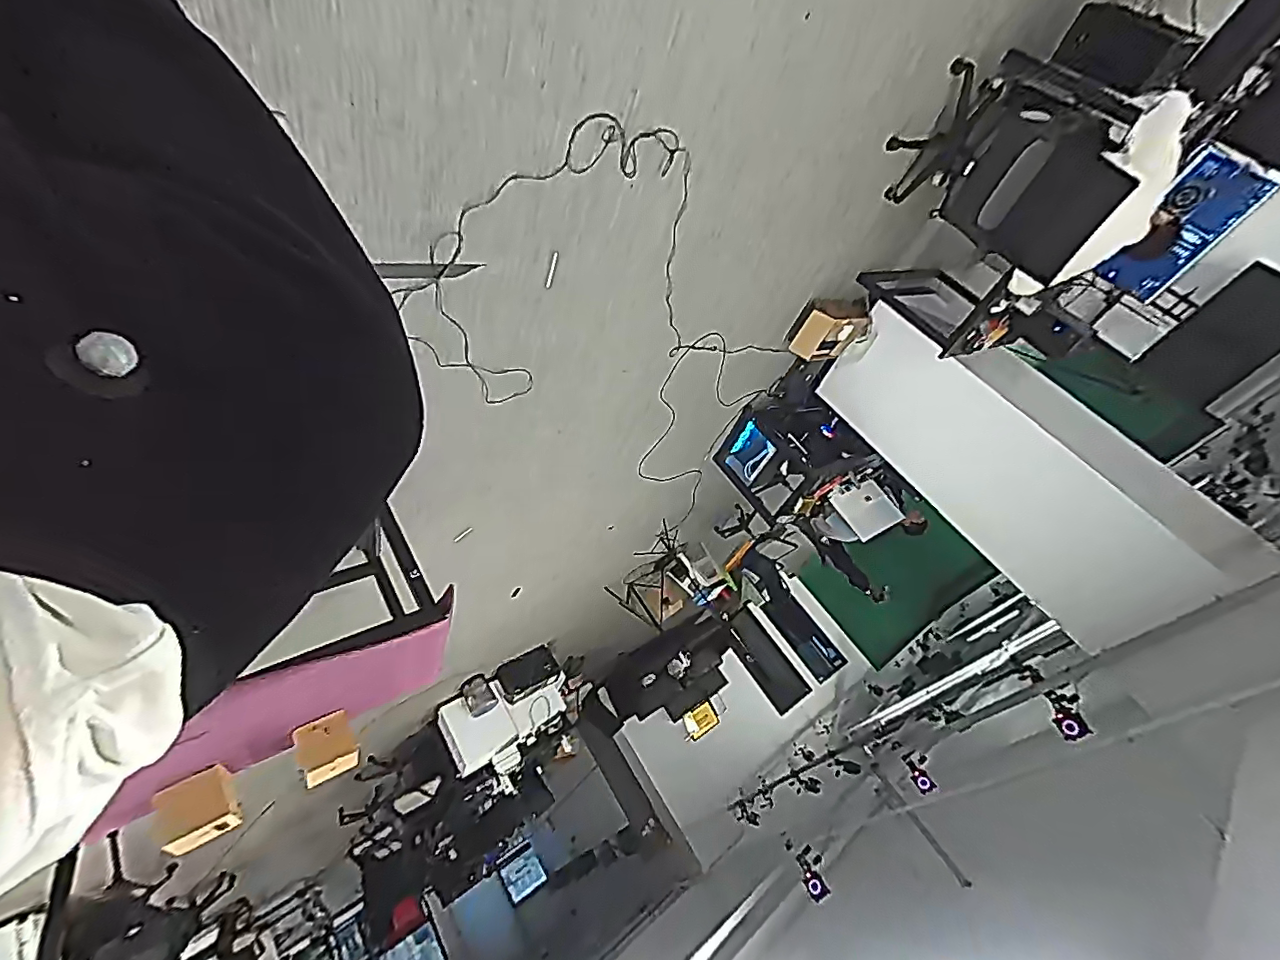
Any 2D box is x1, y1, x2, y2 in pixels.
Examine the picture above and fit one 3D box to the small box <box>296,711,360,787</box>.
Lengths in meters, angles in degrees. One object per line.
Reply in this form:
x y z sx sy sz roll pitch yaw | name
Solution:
-1.141 0.978 1.975 0.168 0.176 0.179 -16 148 -39 | small box
